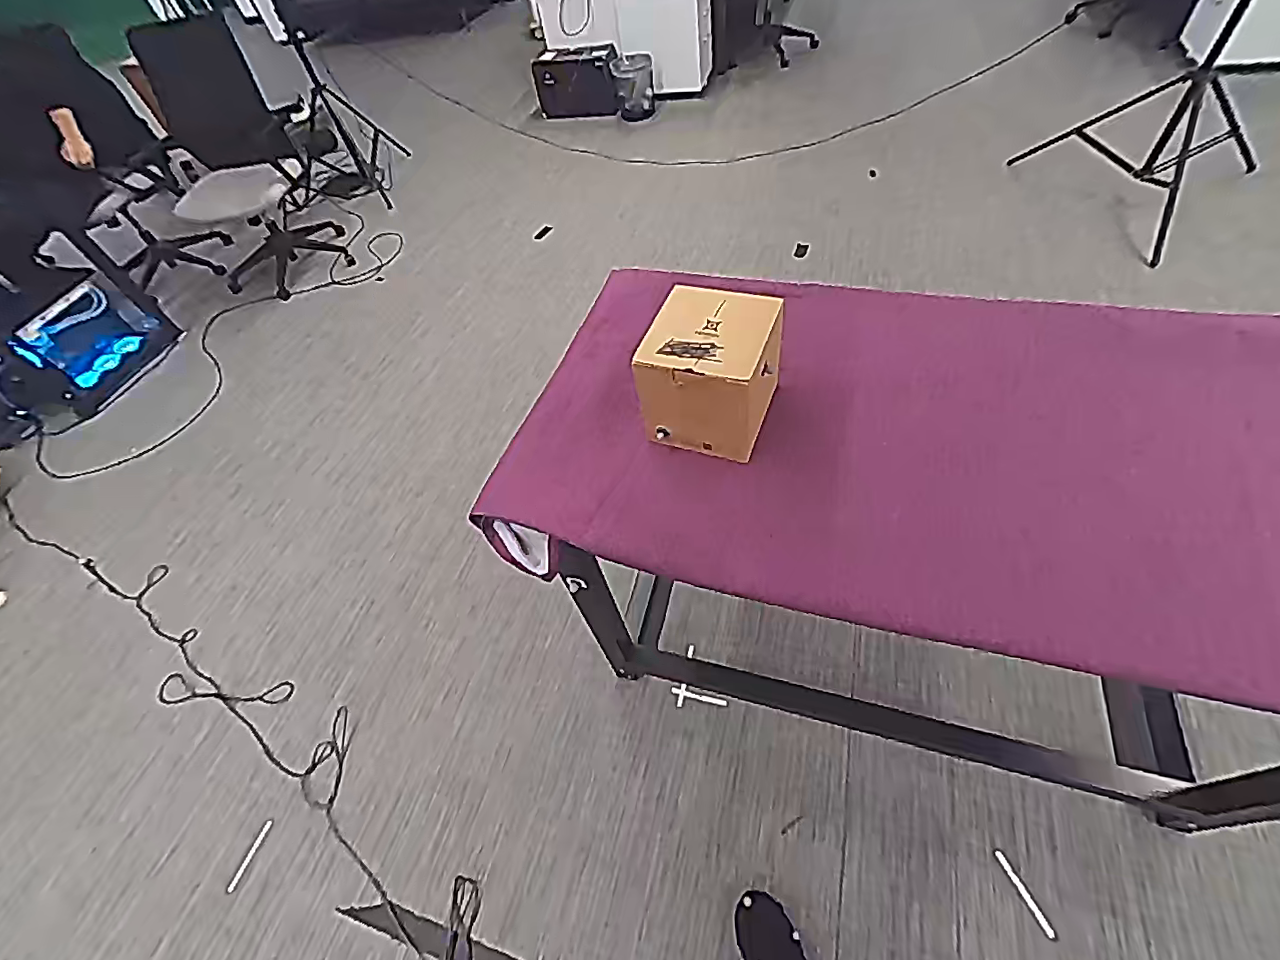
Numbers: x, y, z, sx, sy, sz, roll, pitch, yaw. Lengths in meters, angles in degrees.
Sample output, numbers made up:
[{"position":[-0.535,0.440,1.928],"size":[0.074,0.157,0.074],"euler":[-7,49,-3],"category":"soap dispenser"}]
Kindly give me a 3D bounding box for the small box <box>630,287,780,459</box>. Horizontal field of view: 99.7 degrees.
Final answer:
[{"position":[0.104,-0.157,0.807],"size":[0.168,0.176,0.179],"euler":[15,57,19],"category":"small box"}]
